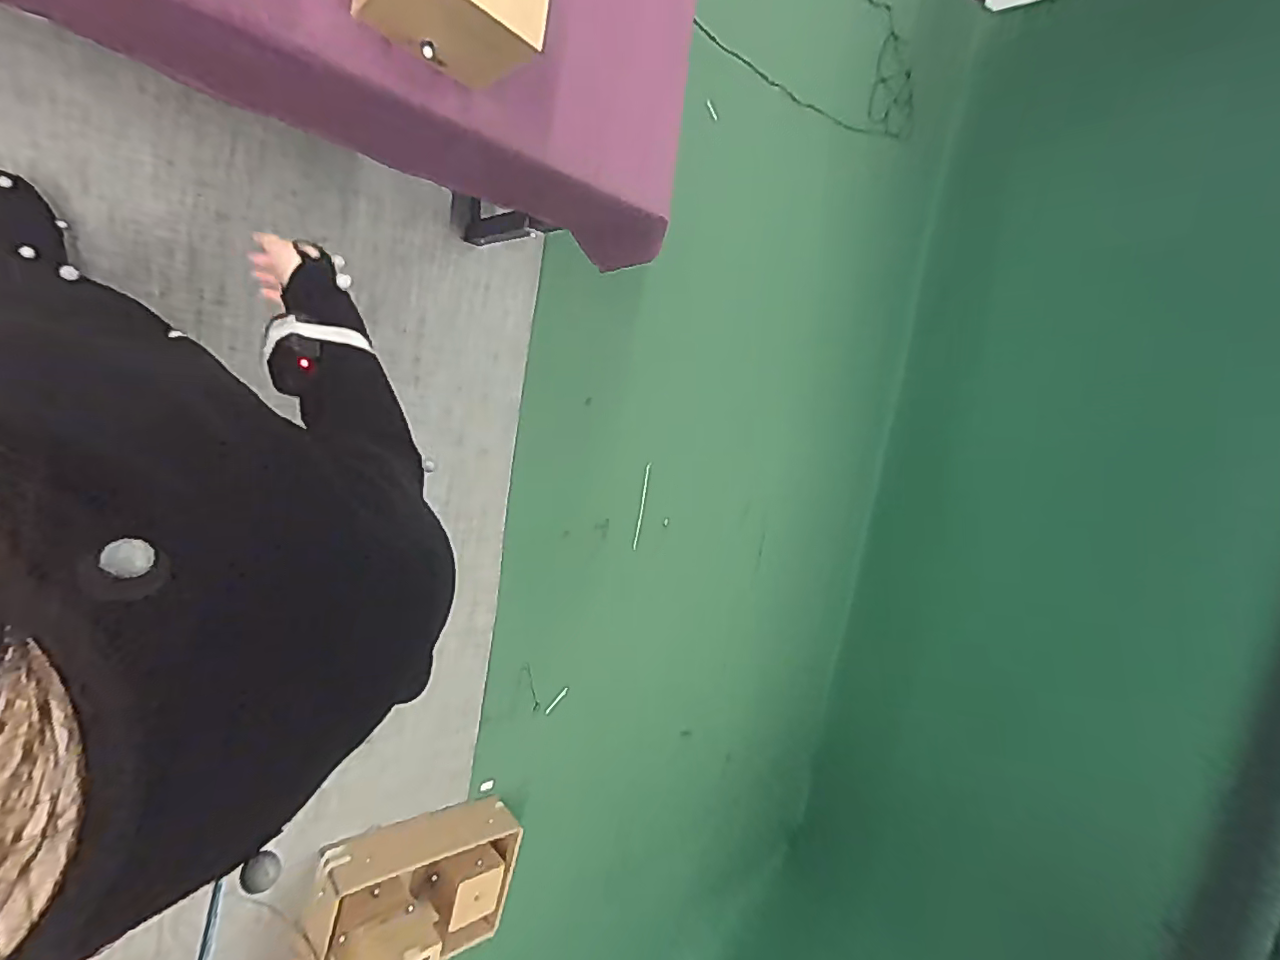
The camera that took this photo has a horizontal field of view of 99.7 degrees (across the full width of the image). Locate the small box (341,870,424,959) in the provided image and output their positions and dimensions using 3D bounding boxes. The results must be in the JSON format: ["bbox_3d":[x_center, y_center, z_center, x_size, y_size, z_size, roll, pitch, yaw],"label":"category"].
[{"bbox_3d":[-0.771,1.310,1.609,0.168,0.176,0.179,8,95,-46],"label":"small box"}]

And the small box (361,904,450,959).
[{"bbox_3d":[-0.655,1.327,1.494,0.168,0.176,0.179,10,94,-47],"label":"small box"}]
